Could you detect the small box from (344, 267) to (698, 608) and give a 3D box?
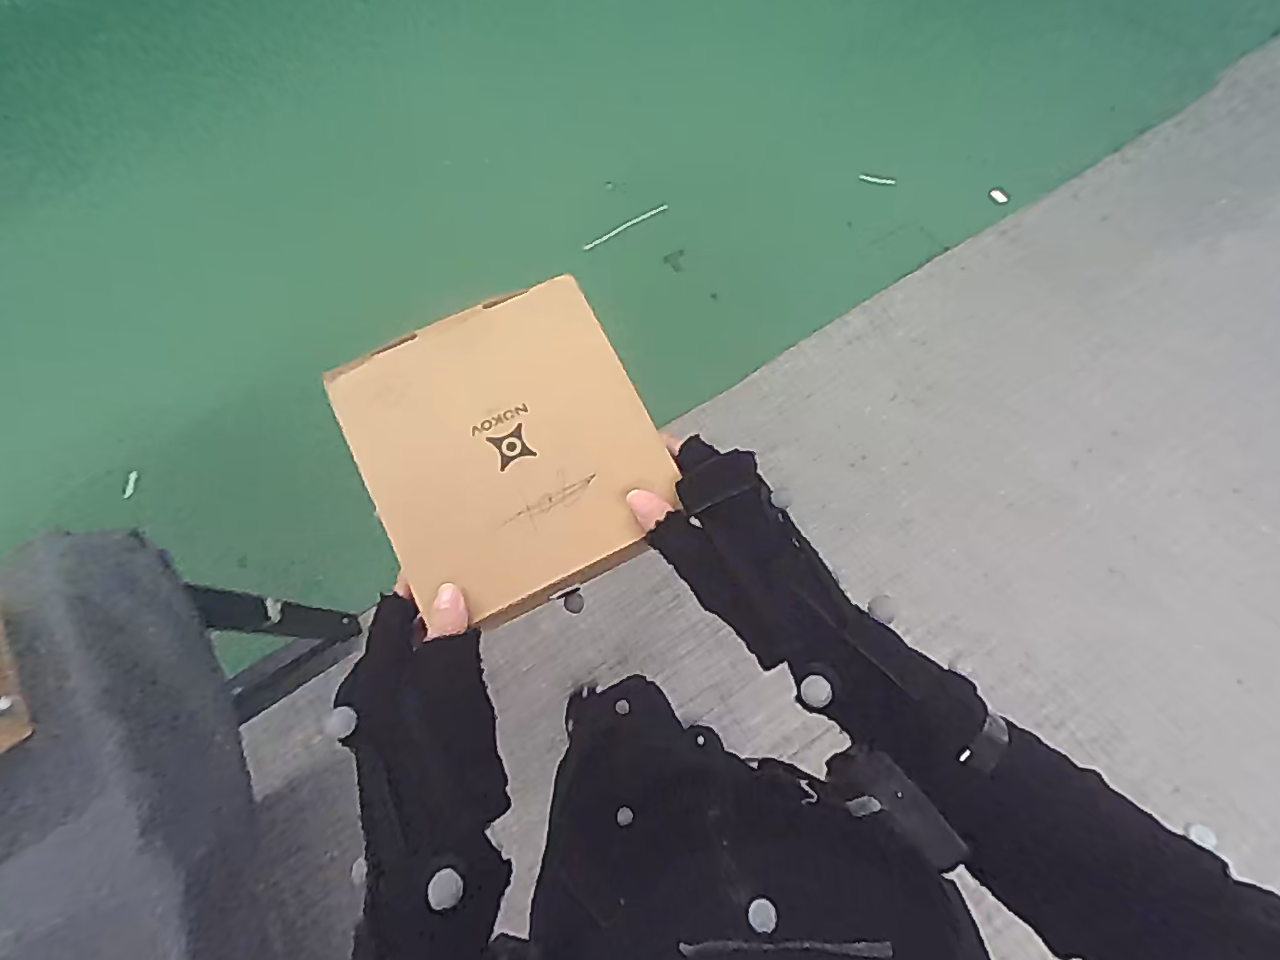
[{"bbox_3d":[-0.079,-0.016,0.406,0.168,0.176,0.179,-25,80,-9],"label":"small box"}]
